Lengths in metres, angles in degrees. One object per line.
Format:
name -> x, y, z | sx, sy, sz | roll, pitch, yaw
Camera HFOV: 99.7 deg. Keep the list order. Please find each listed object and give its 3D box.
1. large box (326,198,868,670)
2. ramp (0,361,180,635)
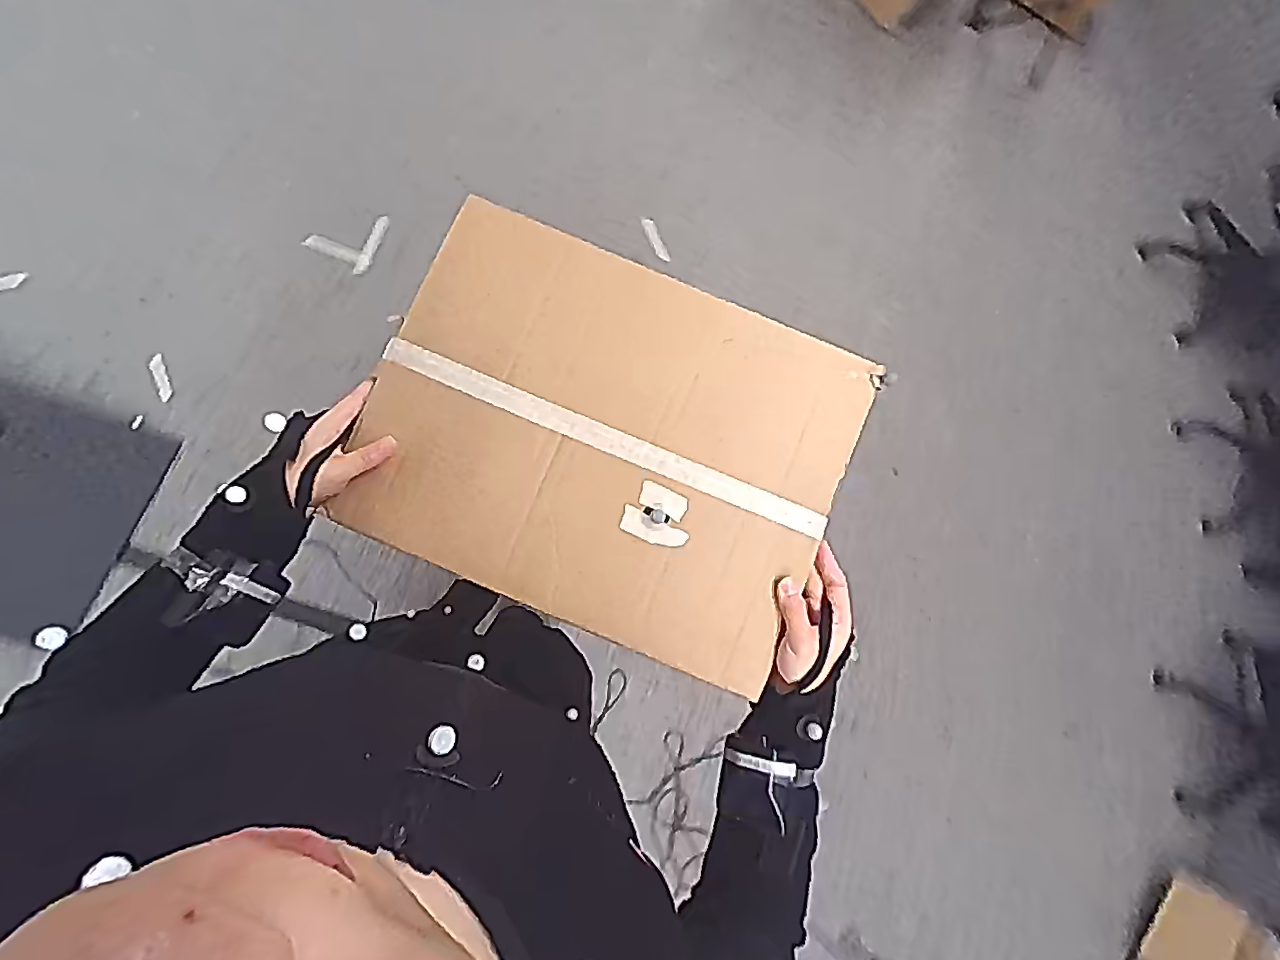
large box -> -0.037, -0.034, 0.620 | 0.408, 0.320, 0.320 | 22, 86, 0
ramp -> -1.558, -0.089, 1.027 | 0.991, 0.206, 0.509 | 21, 75, -10
